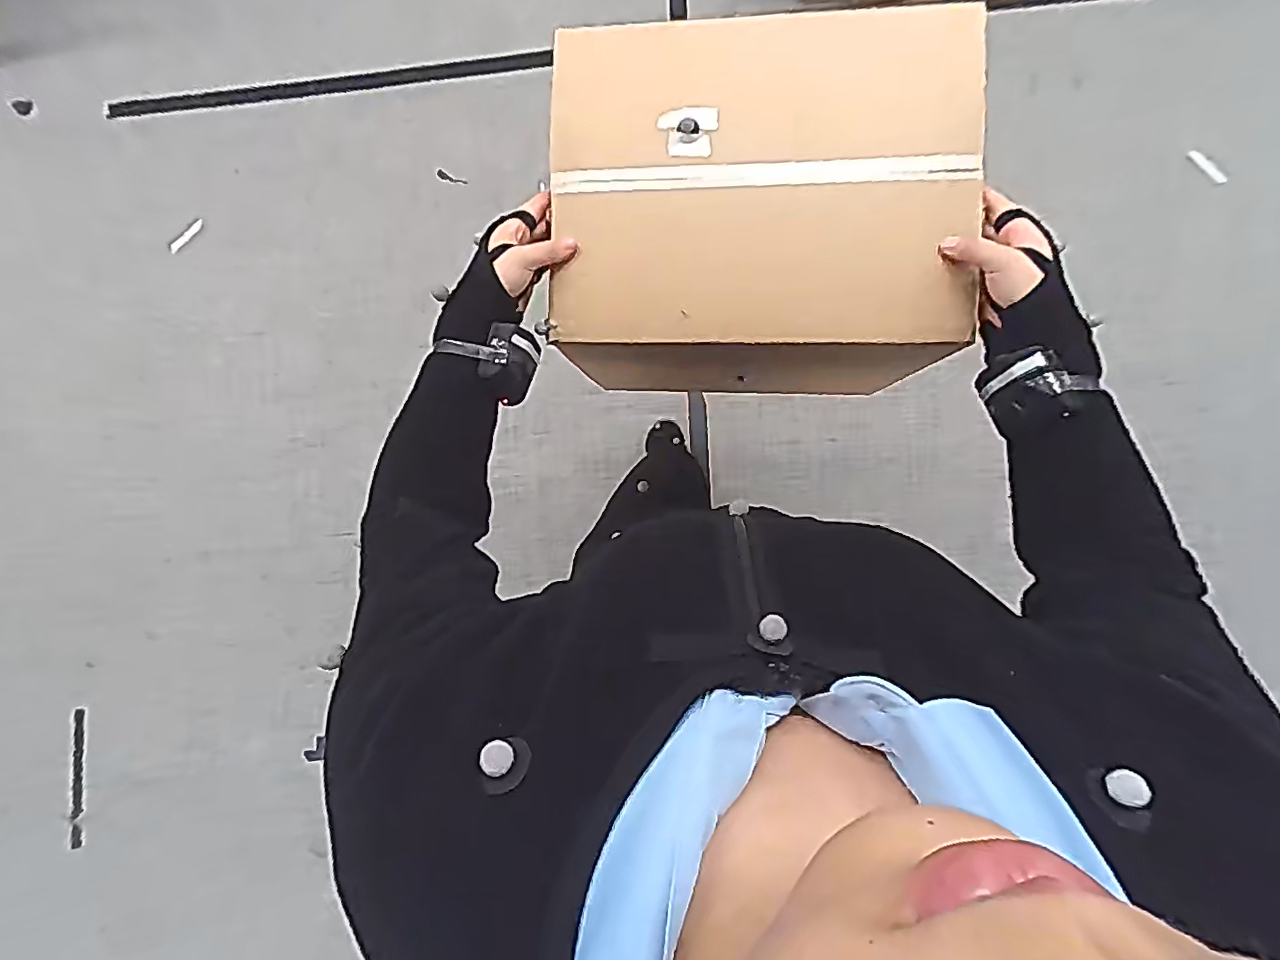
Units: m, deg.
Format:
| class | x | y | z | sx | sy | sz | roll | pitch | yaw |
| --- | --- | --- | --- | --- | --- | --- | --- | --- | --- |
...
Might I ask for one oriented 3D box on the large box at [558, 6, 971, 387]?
| class | x | y | z | sx | sy | sz | roll | pitch | yaw |
| --- | --- | --- | --- | --- | --- | --- | --- | --- | --- |
| large box | 0.133 | -0.294 | 0.679 | 0.408 | 0.320 | 0.320 | 1 | 89 | 7 |
